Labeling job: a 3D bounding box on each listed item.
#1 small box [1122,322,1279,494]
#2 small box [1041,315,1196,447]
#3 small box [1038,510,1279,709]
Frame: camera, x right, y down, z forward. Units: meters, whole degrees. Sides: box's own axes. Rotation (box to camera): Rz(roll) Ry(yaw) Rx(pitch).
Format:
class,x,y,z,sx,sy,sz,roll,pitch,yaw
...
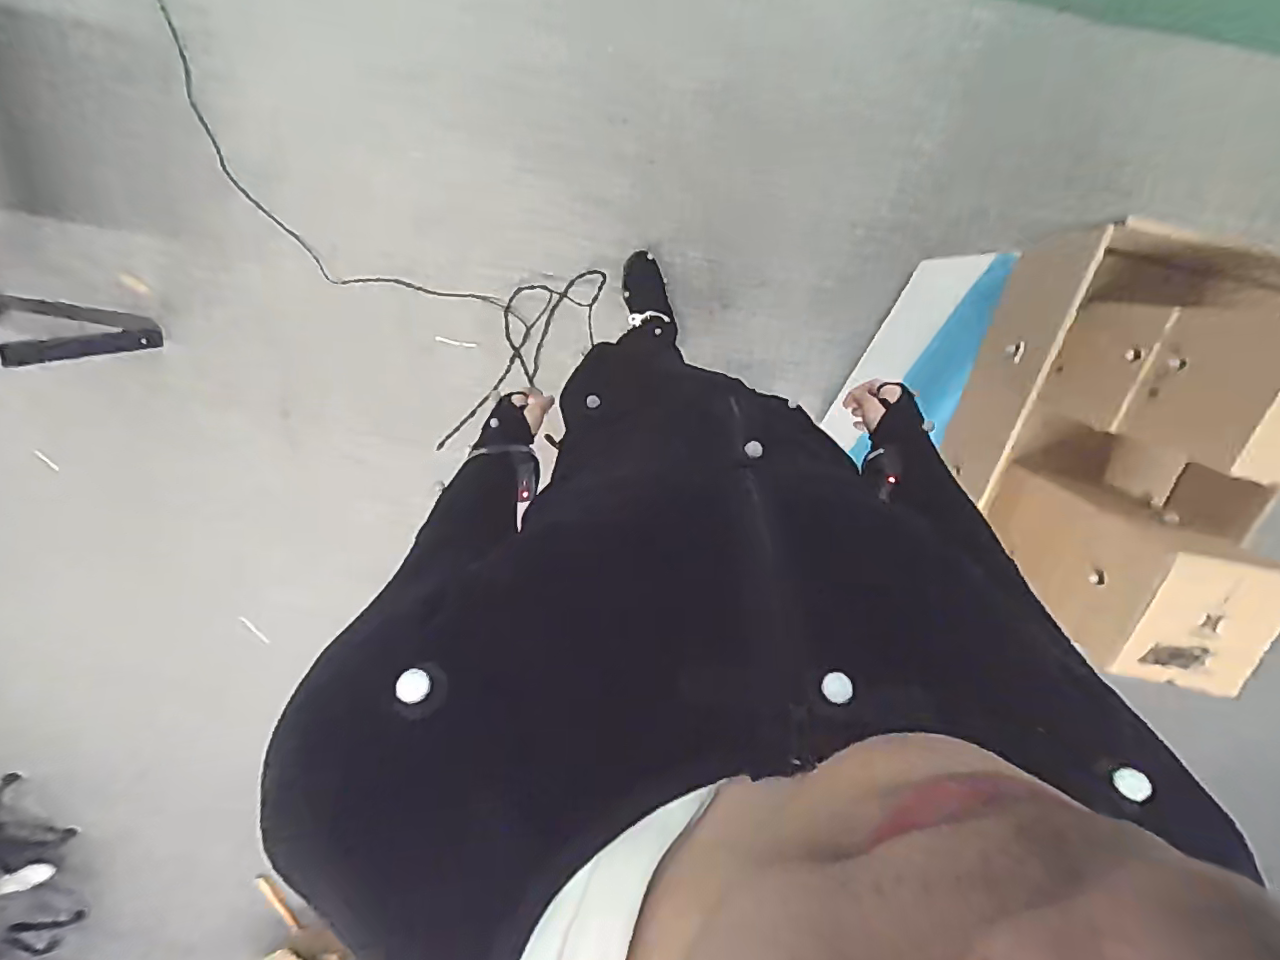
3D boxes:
class,x,y,z,sx,sy,sz,roll,pitch,yaw
small box,0.738,-0.081,0.626,0.179,0.176,0.168,12,111,0
small box,0.743,-0.137,0.779,0.179,0.176,0.168,12,110,-1
small box,0.680,0.162,0.715,0.168,0.176,0.179,12,109,-1
